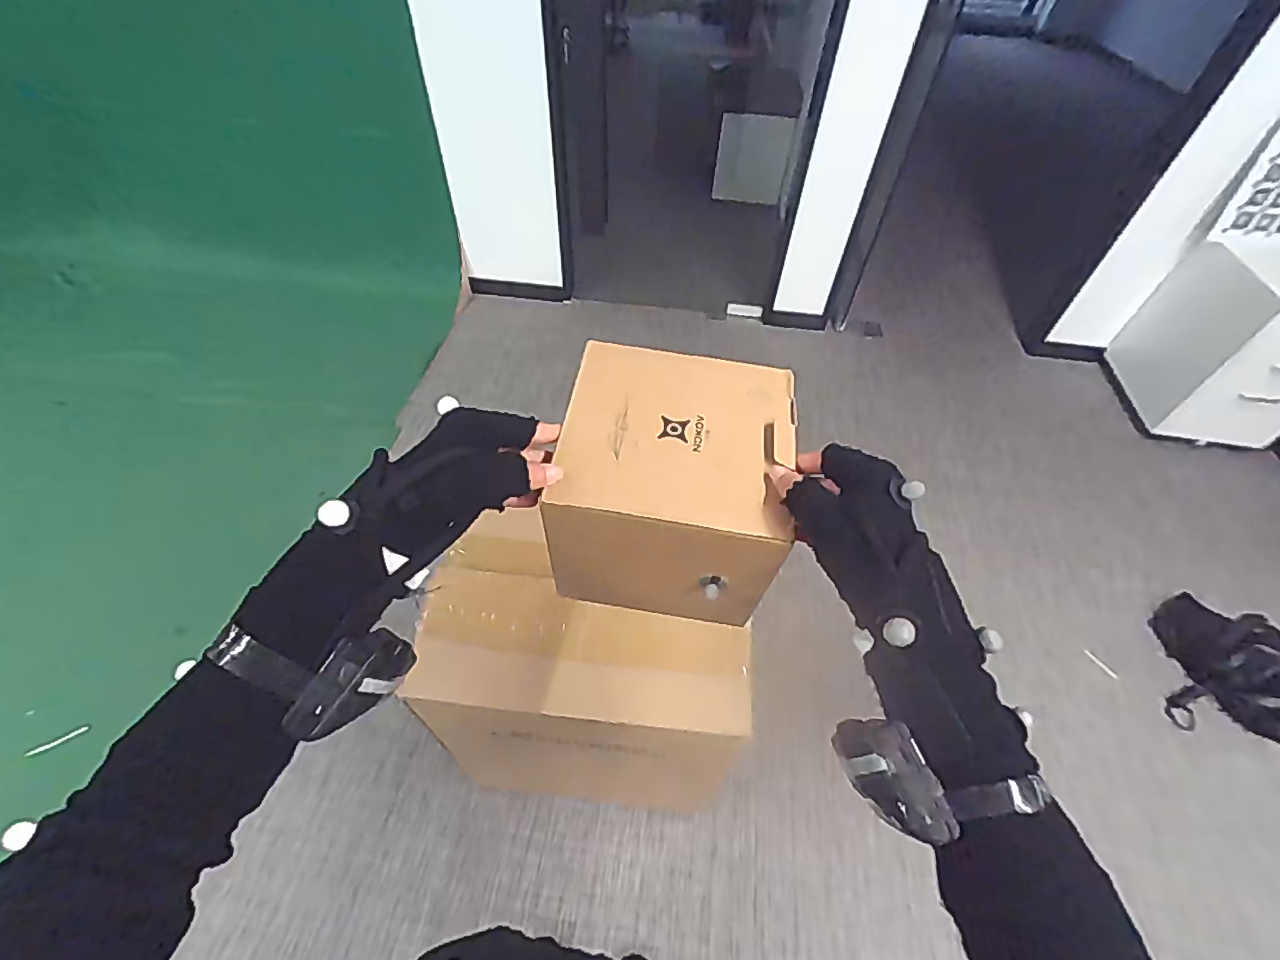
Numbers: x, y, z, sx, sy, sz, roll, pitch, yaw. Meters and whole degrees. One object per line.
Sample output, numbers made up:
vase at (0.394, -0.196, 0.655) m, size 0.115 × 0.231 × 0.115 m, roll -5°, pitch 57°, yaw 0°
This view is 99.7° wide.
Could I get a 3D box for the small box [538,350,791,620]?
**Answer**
small box at (0.024, 0.011, 0.477) m, size 0.179 × 0.176 × 0.168 m, roll 6°, pitch 54°, yaw 3°
